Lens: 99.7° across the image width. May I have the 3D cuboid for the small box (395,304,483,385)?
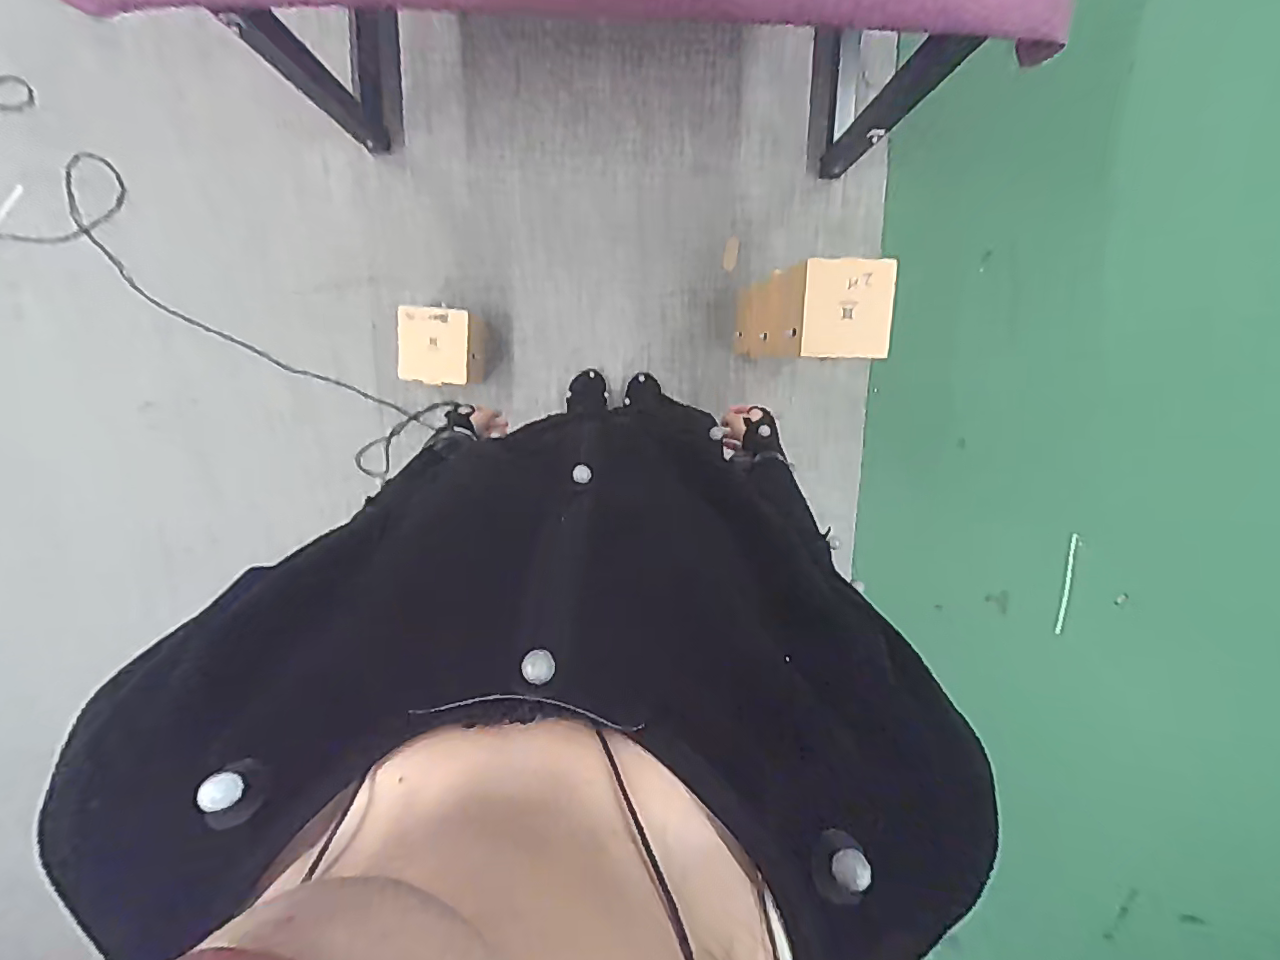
[{"bbox_3d":[-0.497,-0.335,1.353,0.168,0.176,0.179,4,102,-3],"label":"small box"}]

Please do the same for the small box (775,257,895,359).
[{"bbox_3d":[0.369,-0.328,1.057,0.168,0.176,0.179,0,102,-3],"label":"small box"}]

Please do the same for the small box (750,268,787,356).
[{"bbox_3d":[0.349,-0.371,1.216,0.168,0.176,0.179,-1,102,-2],"label":"small box"}]

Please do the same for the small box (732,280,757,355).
[{"bbox_3d":[0.337,-0.404,1.374,0.179,0.176,0.168,2,101,-3],"label":"small box"}]
